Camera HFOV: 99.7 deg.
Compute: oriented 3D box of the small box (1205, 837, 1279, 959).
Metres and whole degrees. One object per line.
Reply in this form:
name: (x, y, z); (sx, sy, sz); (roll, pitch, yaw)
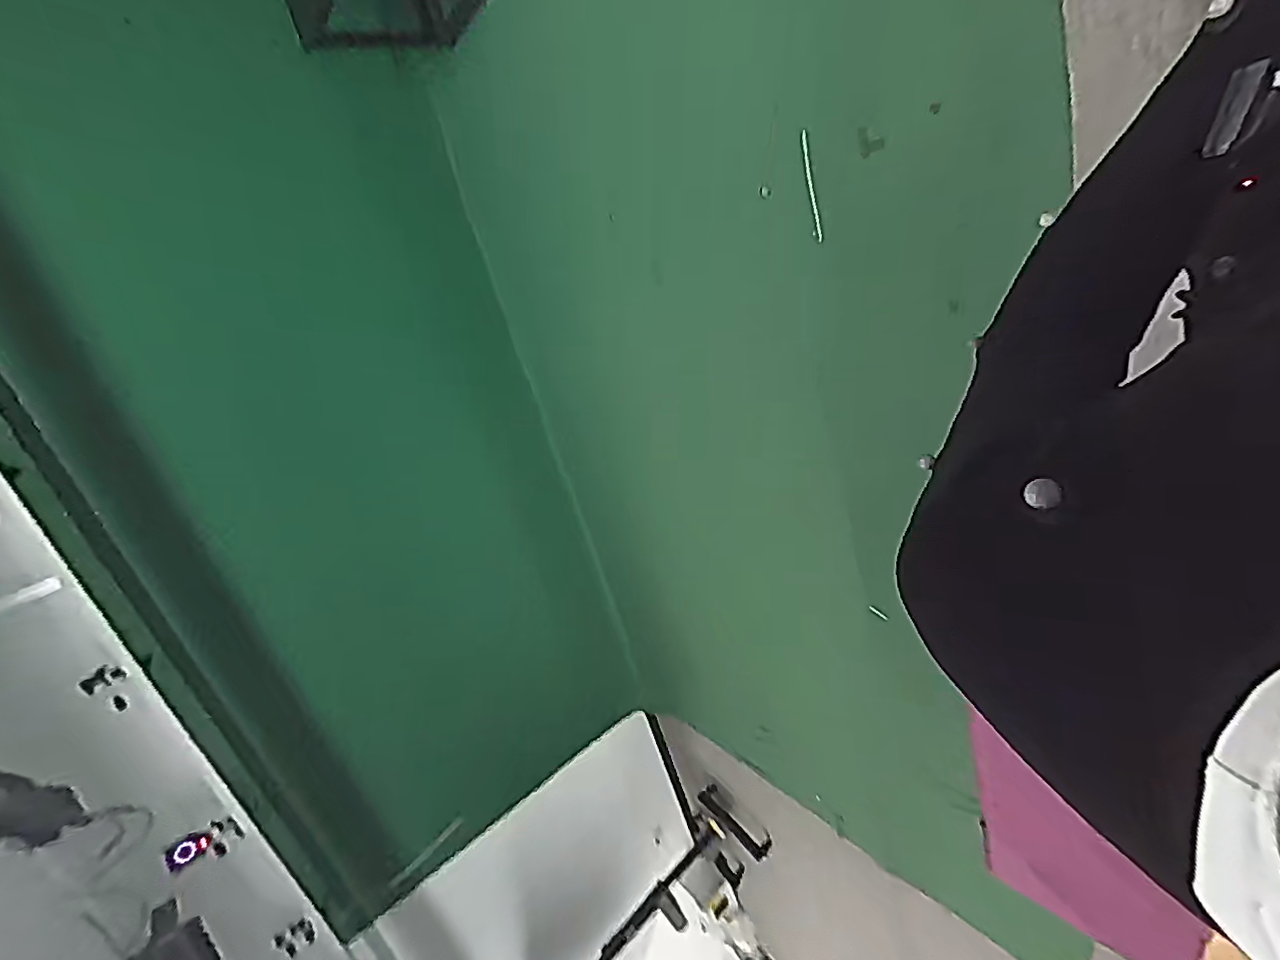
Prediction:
small box: (0.960, 0.669, 0.772); (0.179, 0.176, 0.168); (18, 129, 50)
